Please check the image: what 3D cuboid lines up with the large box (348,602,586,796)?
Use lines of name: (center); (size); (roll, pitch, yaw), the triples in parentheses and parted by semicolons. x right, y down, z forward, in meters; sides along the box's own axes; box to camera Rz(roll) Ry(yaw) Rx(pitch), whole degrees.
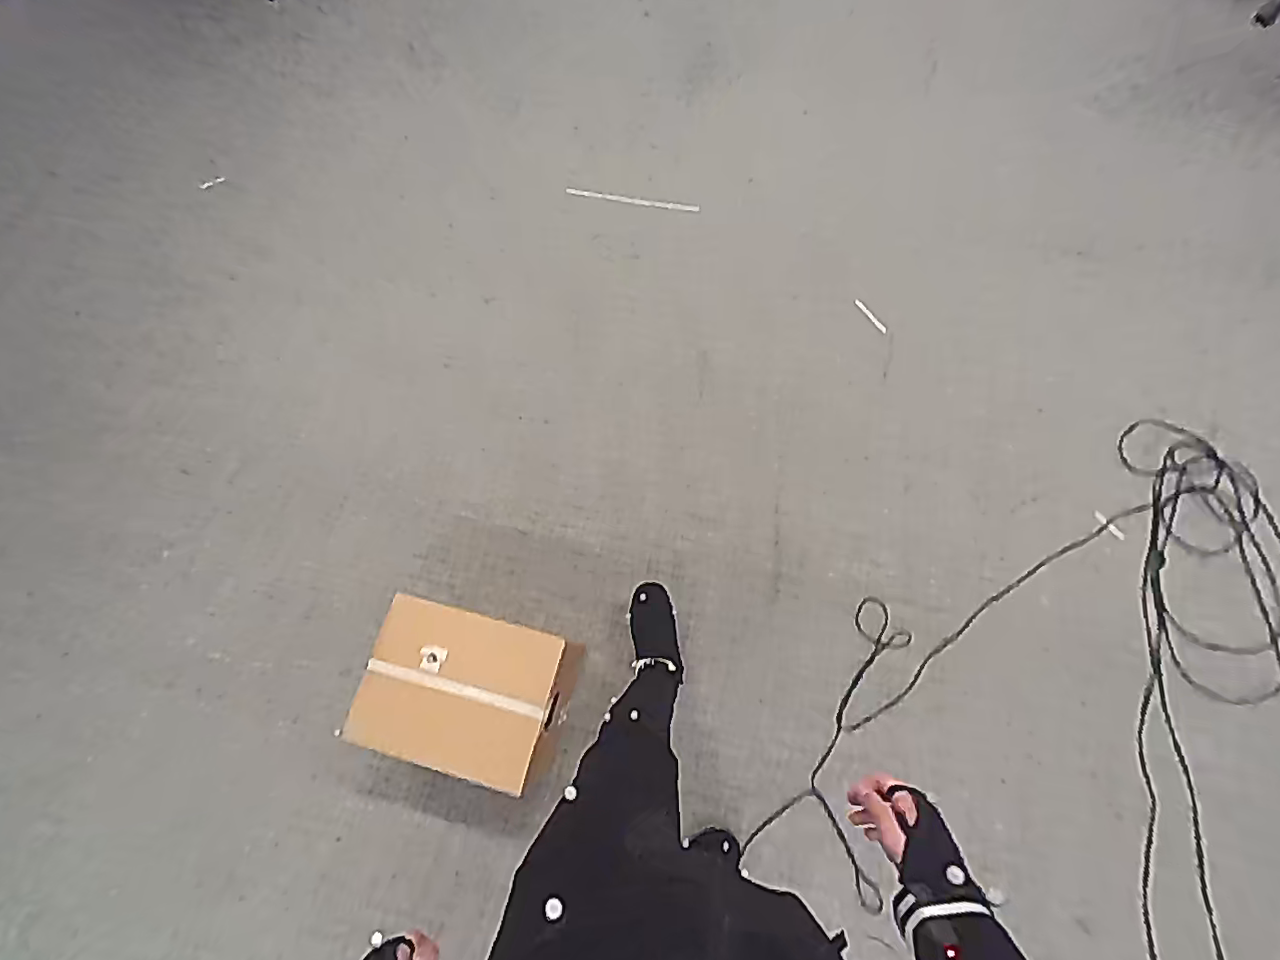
large box: (-0.377, 0.502, 1.292); (0.408, 0.320, 0.320); (13, 72, 8)
